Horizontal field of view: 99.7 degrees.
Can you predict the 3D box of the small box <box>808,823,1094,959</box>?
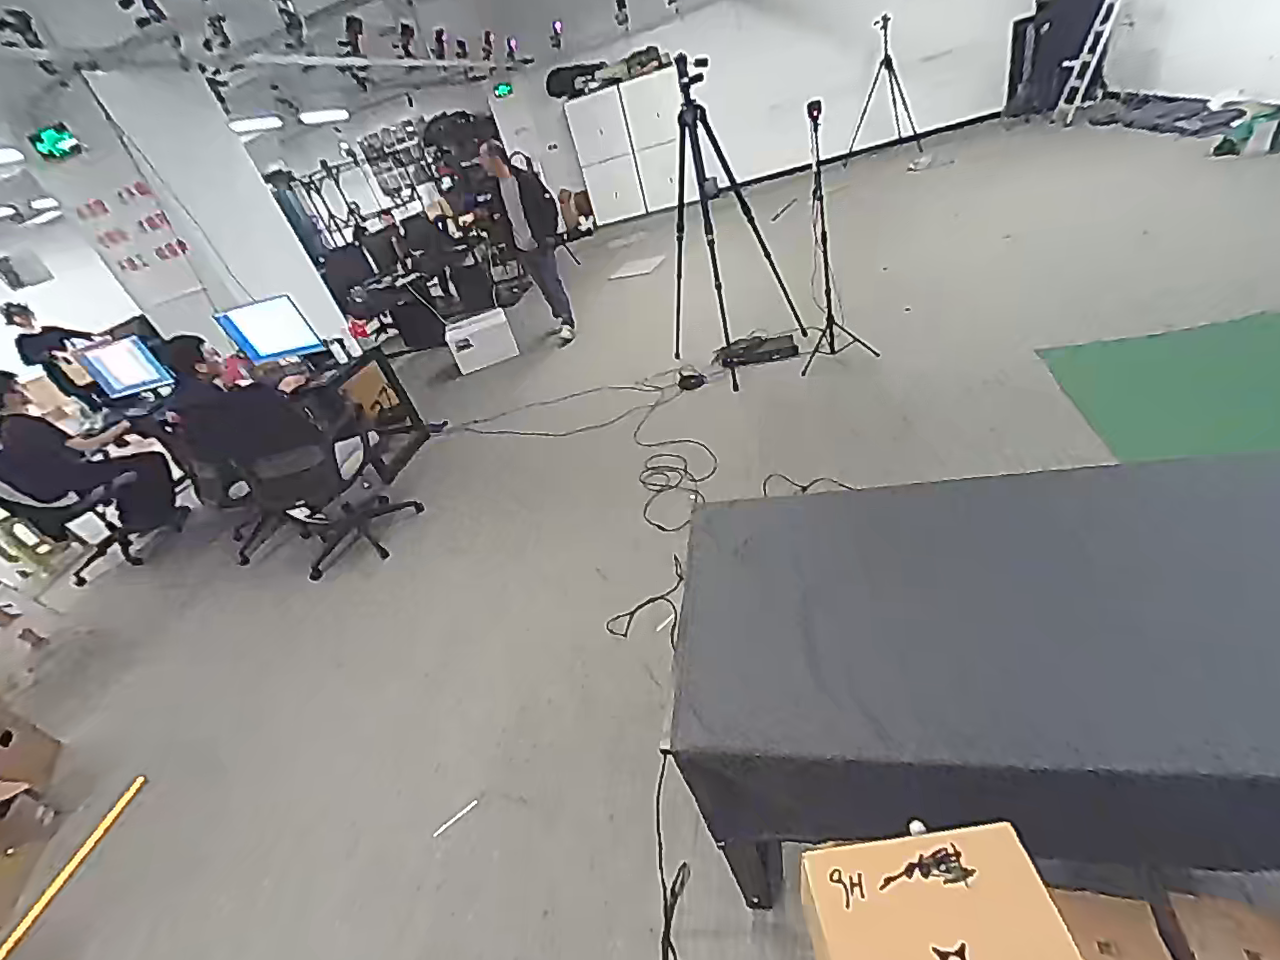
[{"bbox_3d":[0.234,0.392,0.407,0.168,0.176,0.179,-11,41,4],"label":"small box"}]
